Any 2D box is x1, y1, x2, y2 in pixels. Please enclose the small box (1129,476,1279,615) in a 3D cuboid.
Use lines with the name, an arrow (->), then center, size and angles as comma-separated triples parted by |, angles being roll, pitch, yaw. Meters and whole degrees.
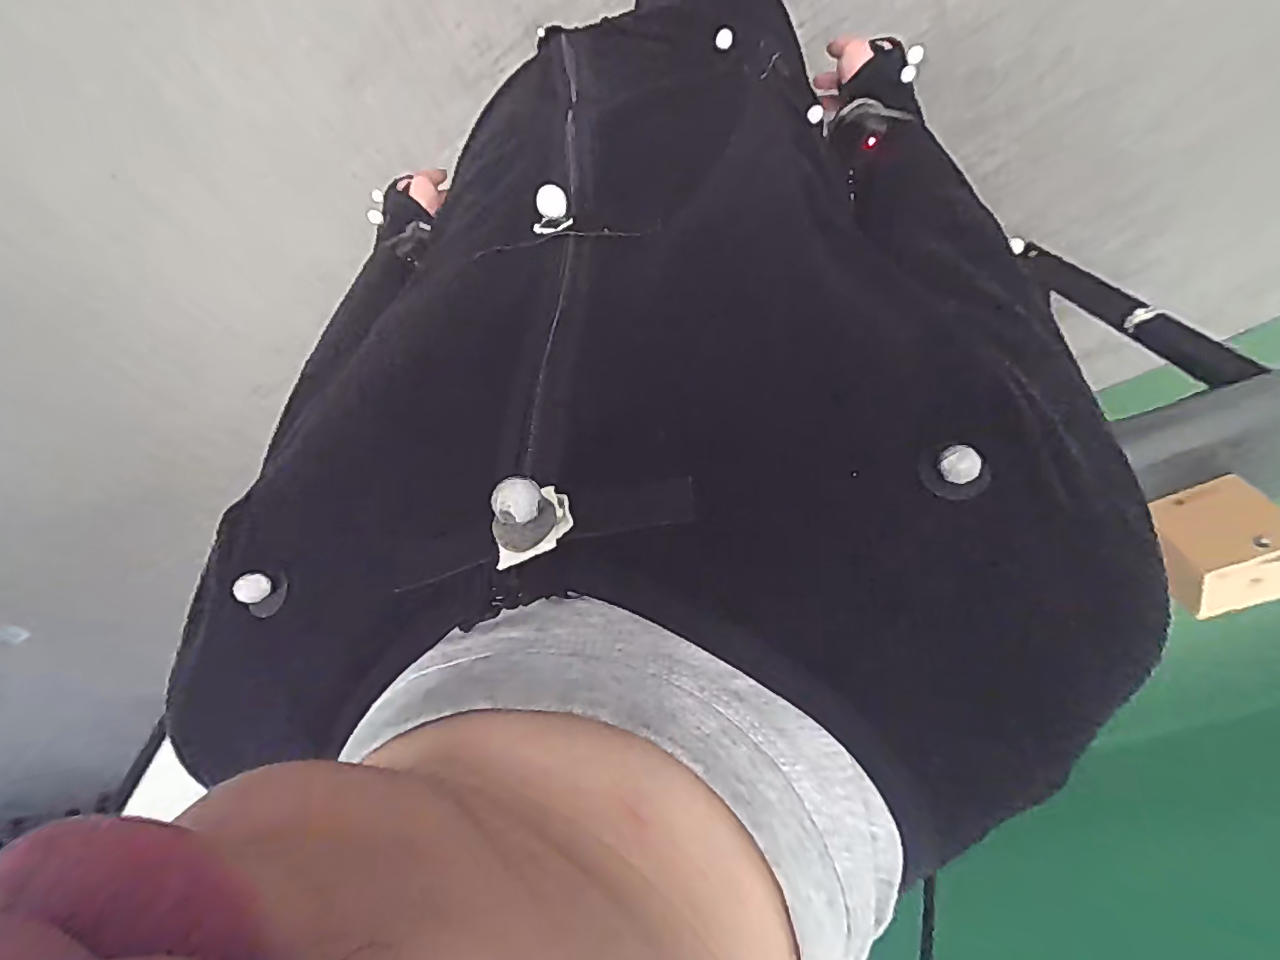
small box -> 1.087, 0.125, 1.035 | 0.168, 0.176, 0.179 | -27, 129, 17
